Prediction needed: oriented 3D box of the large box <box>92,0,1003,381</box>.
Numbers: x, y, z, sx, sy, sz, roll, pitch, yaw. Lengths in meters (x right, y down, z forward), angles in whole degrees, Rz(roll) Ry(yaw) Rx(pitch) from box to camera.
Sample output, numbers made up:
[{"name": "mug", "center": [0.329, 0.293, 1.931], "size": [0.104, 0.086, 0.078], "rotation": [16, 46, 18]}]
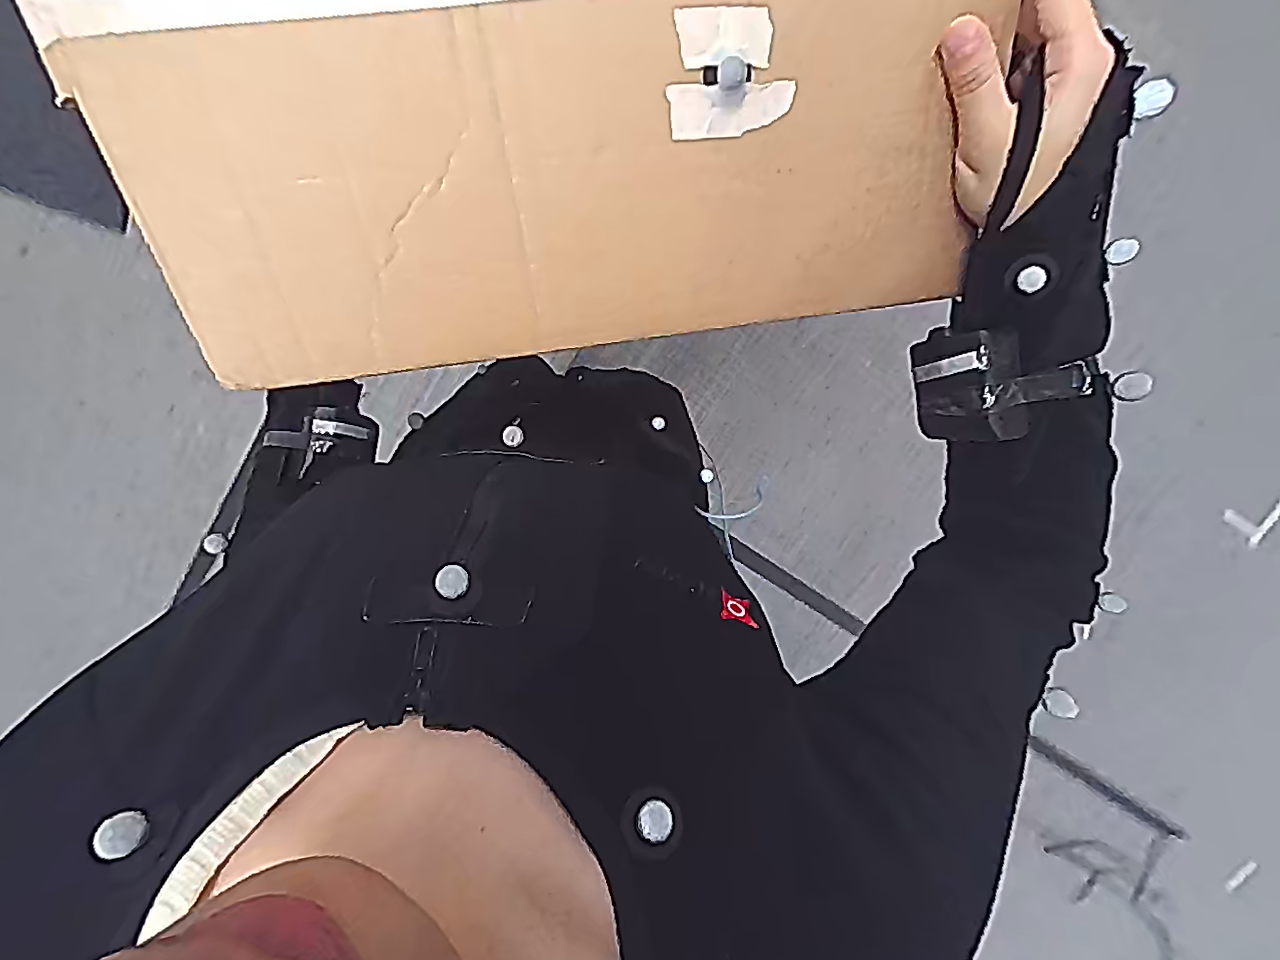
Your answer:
[{"name": "large box", "center": [-0.047, -0.281, 0.366], "size": [0.408, 0.320, 0.320], "rotation": [-8, 118, -5]}]
